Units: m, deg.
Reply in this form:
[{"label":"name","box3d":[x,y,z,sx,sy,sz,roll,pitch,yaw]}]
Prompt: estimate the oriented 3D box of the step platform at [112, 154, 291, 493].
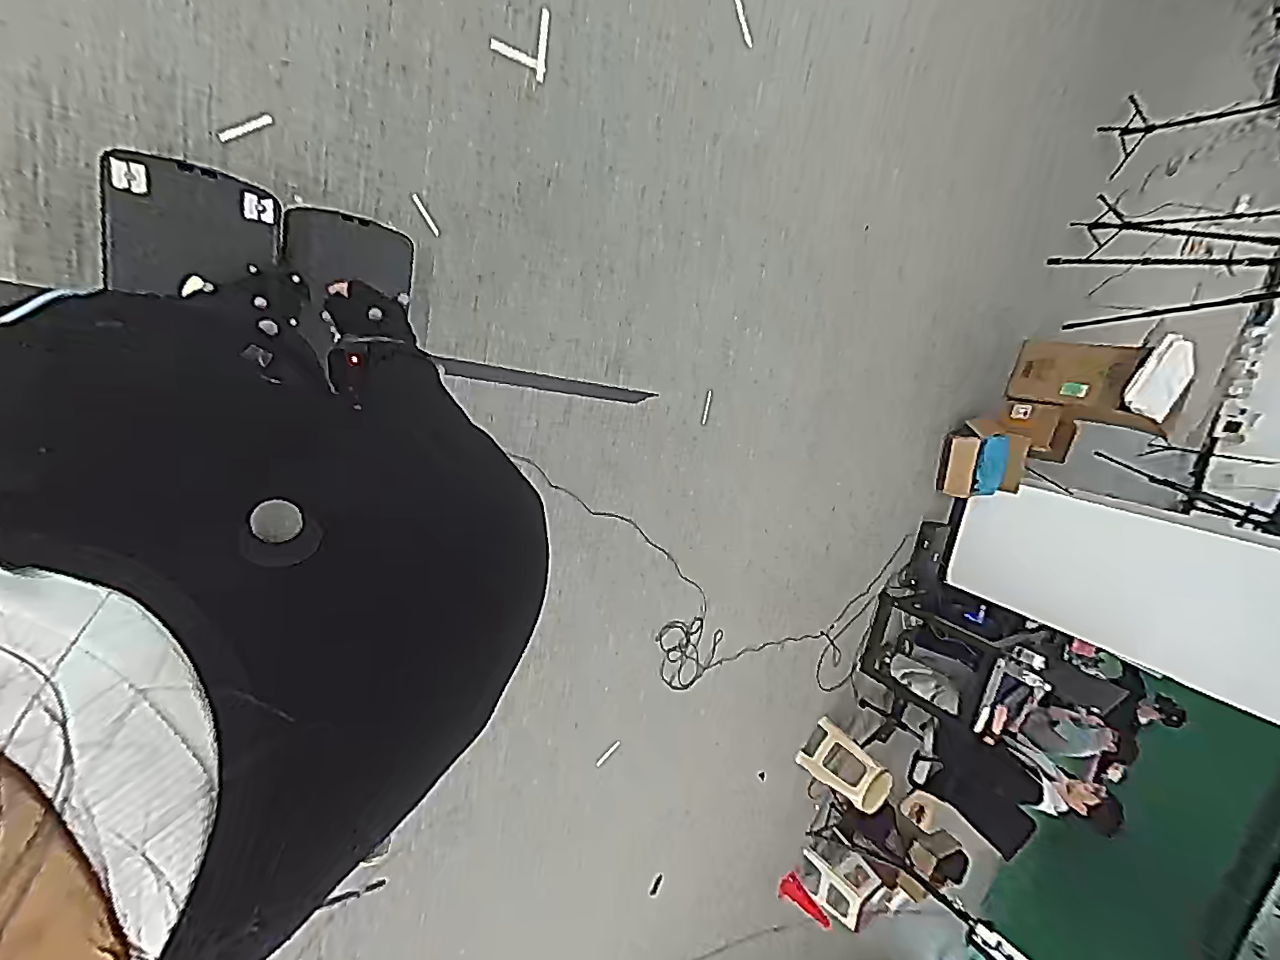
[{"label":"step platform","box3d":[-0.948,-0.312,1.186,0.286,0.204,0.684,0,105,-38]}]
